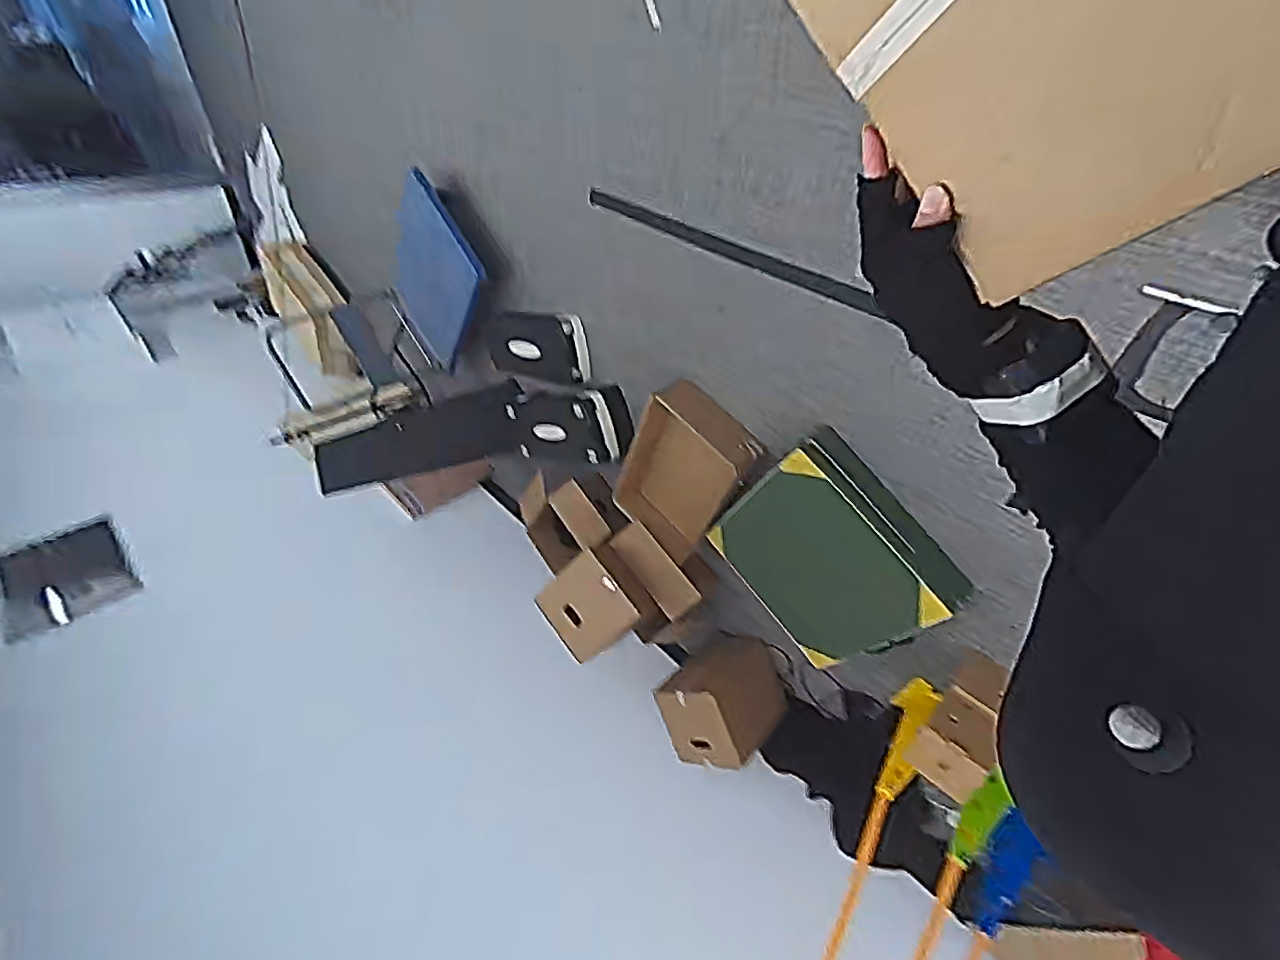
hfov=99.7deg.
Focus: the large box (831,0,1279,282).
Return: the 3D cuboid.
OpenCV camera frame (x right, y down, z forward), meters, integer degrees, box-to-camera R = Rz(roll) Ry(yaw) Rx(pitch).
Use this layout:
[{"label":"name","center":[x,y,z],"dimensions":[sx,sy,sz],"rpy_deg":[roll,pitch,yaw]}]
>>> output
[{"label":"large box","center":[0.327,-0.366,0.228],"dimensions":[0.320,0.320,0.408],"rpy_deg":[54,148,-8]}]
